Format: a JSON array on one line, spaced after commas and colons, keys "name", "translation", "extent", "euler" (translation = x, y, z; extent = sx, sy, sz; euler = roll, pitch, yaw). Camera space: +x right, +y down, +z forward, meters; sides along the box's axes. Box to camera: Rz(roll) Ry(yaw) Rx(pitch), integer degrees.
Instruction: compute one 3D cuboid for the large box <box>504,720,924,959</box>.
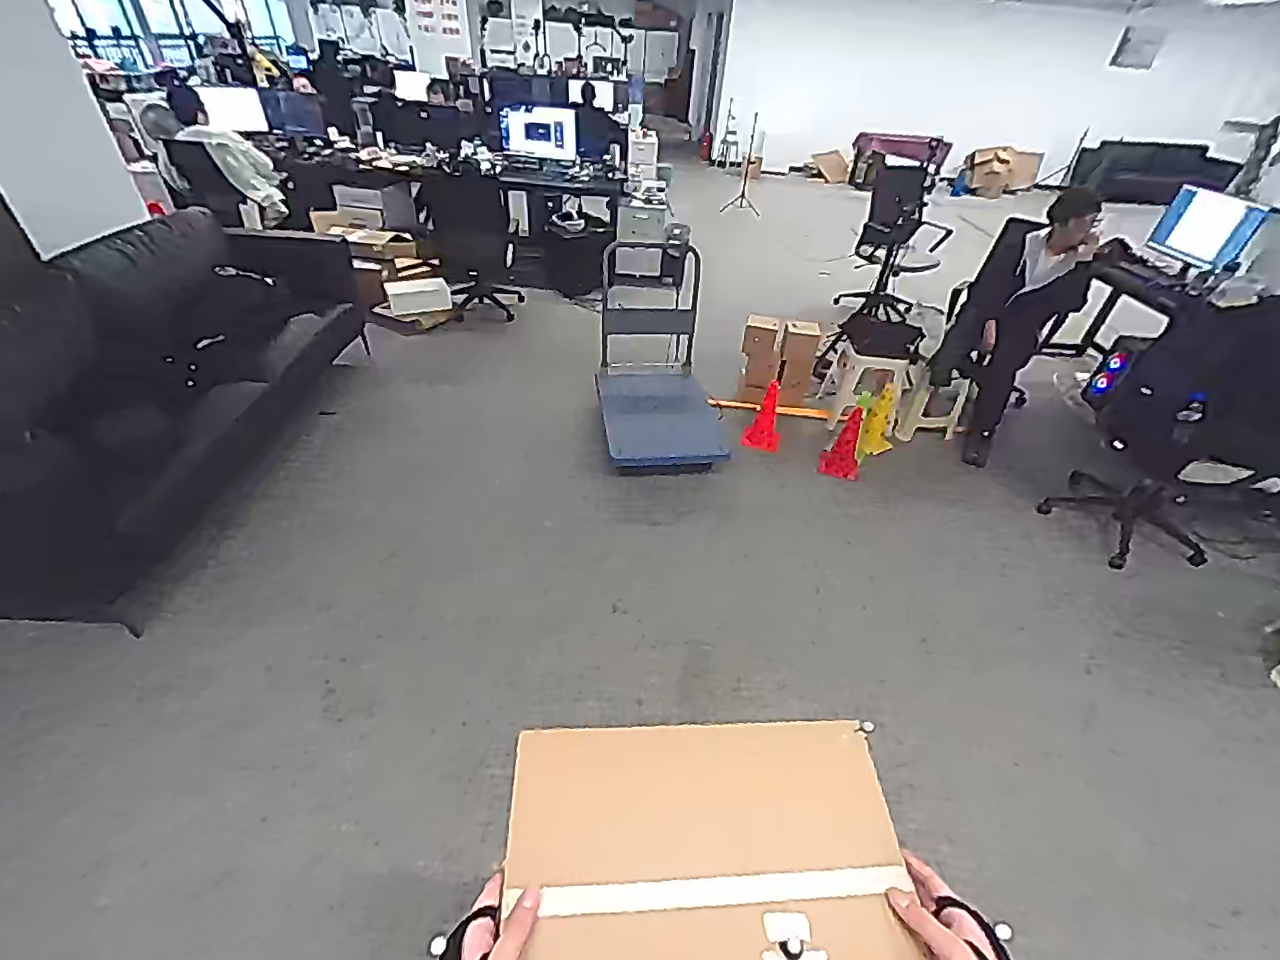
[{"name": "large box", "translation": [0.057, 0.510, 0.647], "extent": [0.408, 0.320, 0.320], "euler": [0, 47, -5]}]
